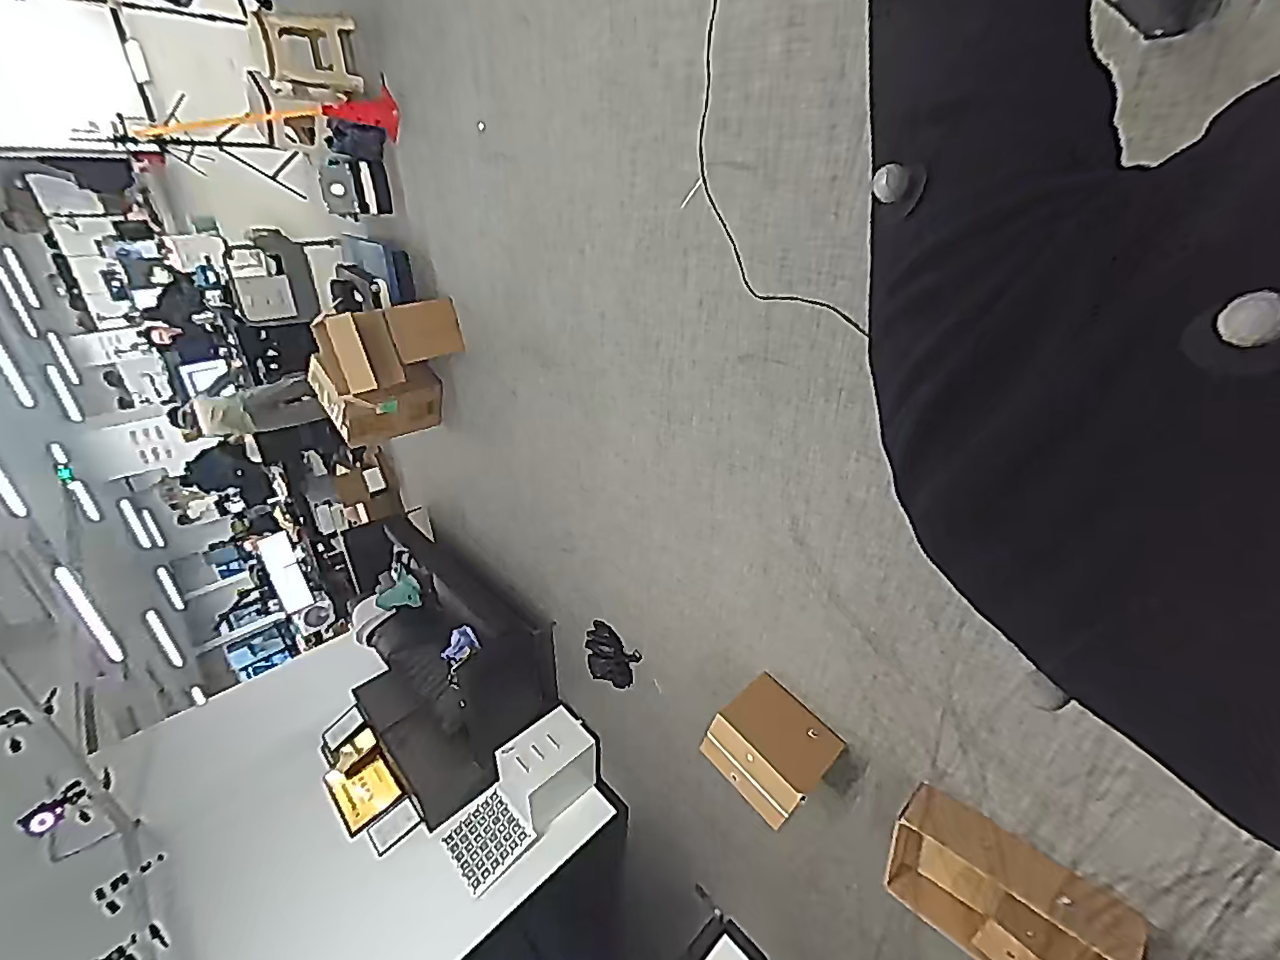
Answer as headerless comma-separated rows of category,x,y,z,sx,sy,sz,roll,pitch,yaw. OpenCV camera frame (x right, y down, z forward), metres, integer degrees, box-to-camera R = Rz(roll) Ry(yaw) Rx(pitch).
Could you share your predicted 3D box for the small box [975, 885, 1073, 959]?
small box,1.155,1.382,1.623,0.179,0.176,0.168,30,130,41
